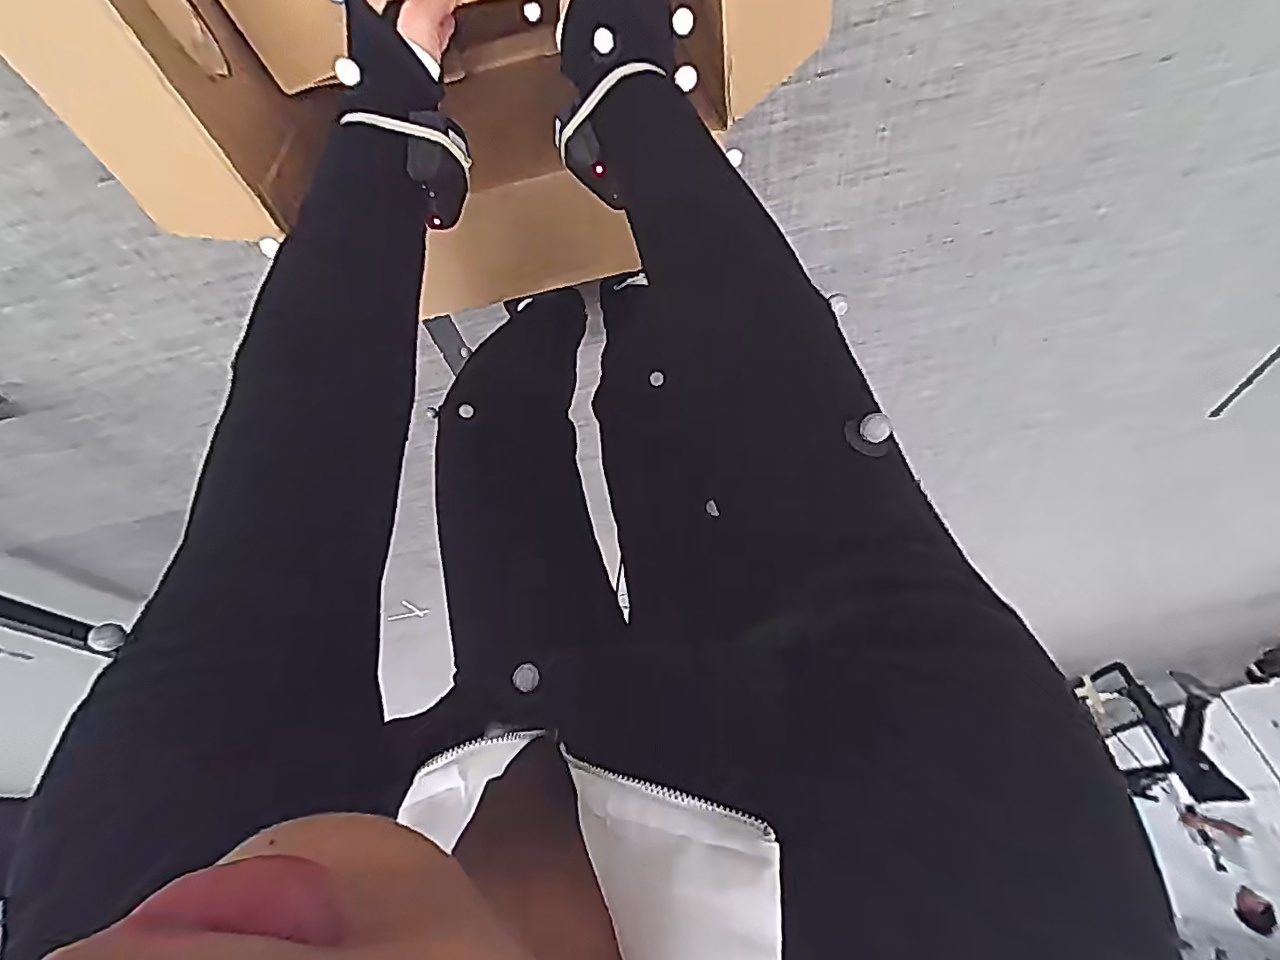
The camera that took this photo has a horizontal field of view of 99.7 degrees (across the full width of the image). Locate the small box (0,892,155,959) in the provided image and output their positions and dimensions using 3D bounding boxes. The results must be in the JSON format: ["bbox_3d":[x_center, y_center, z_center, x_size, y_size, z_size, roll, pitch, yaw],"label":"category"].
[{"bbox_3d":[-1.143,0.943,1.079,0.168,0.176,0.179,-11,145,5],"label":"small box"}]
